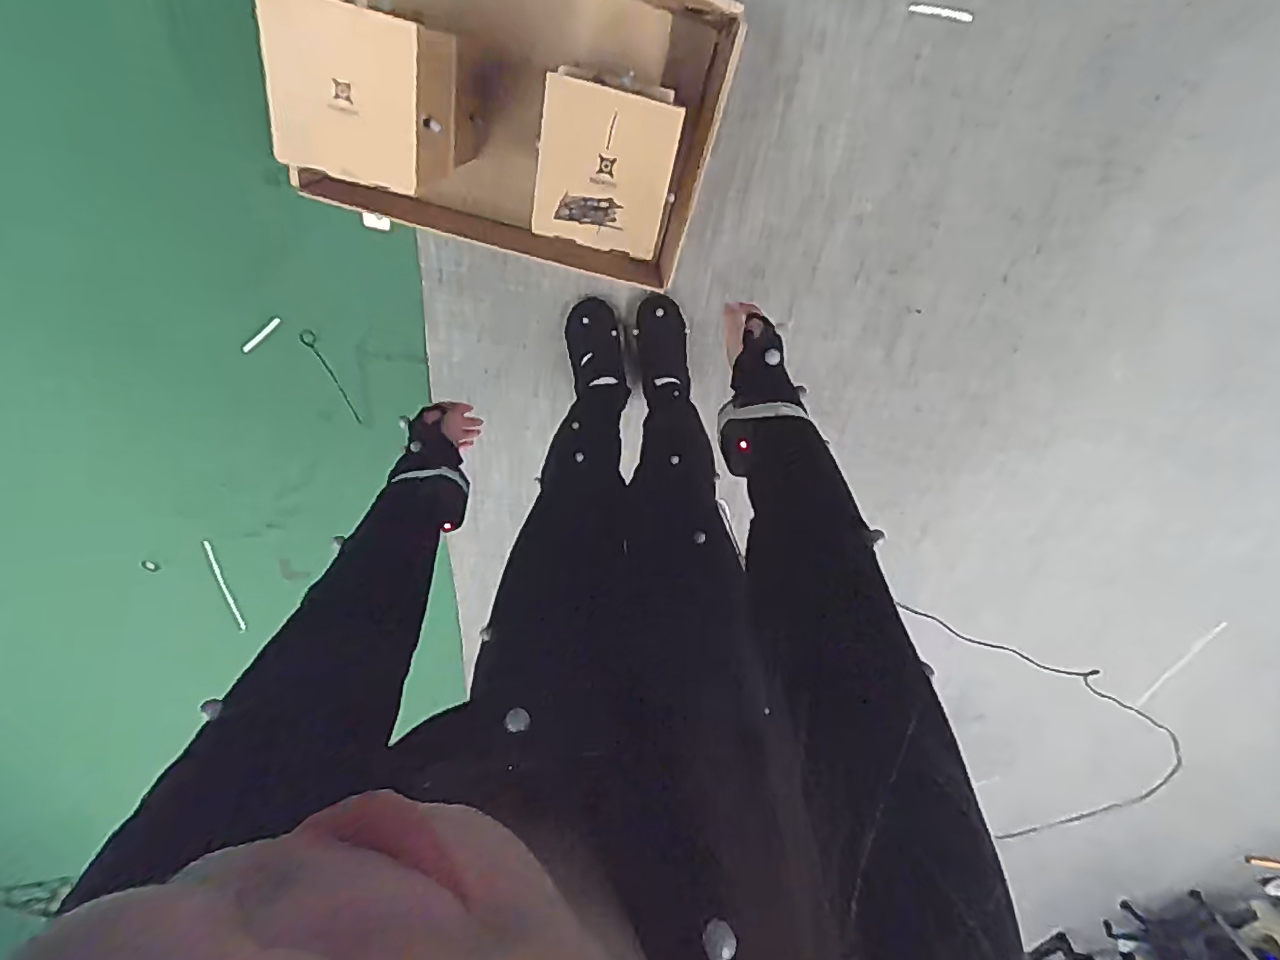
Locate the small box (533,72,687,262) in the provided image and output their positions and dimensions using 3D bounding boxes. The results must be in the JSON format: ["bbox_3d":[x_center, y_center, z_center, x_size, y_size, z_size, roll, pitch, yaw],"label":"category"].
[{"bbox_3d":[-0.042,-0.424,0.736,0.168,0.176,0.179,10,124,-9],"label":"small box"}]

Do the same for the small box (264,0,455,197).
[{"bbox_3d":[-0.338,-0.488,0.684,0.168,0.176,0.179,11,126,-11],"label":"small box"}]
